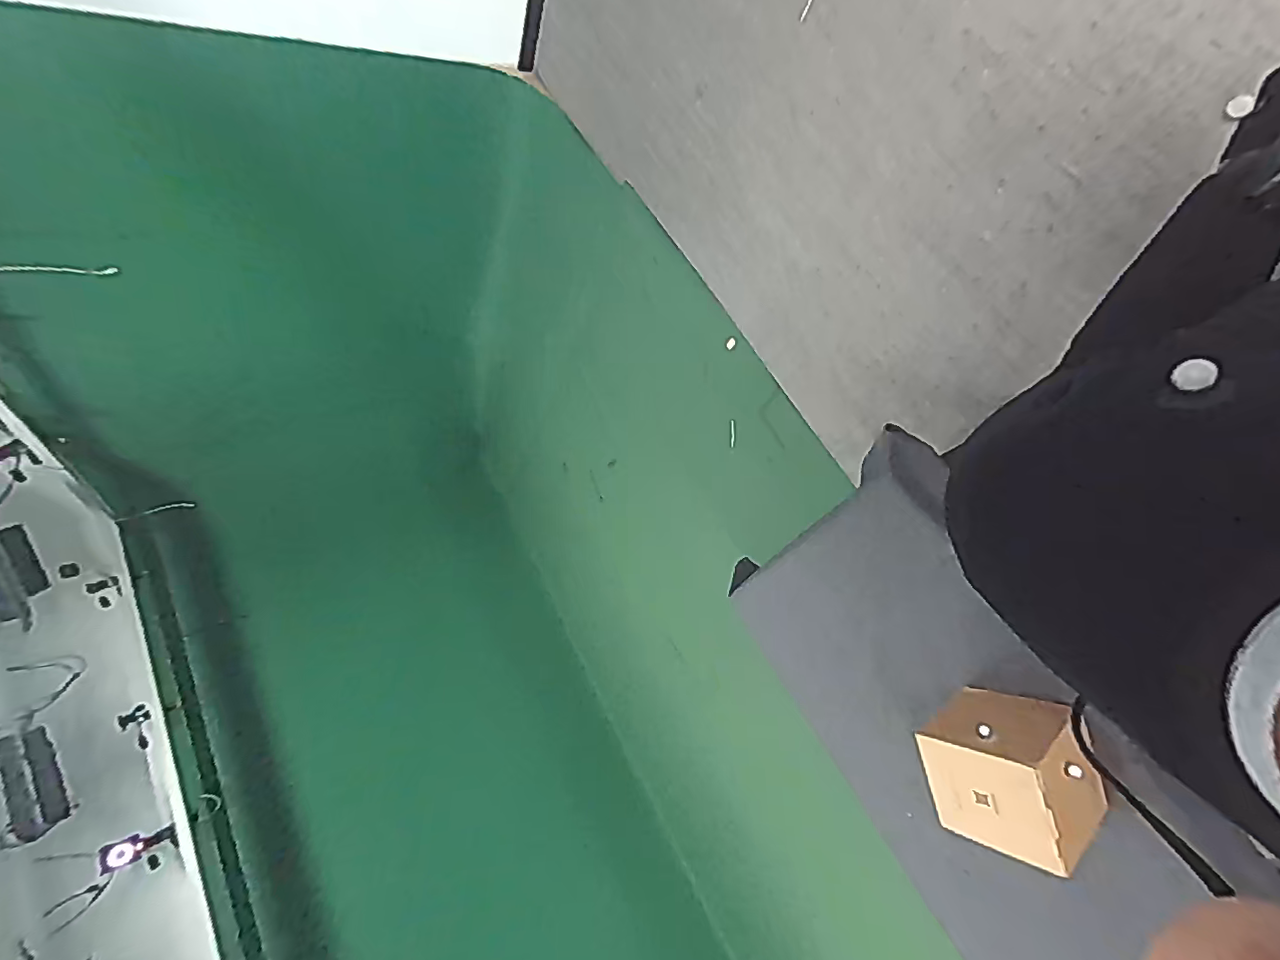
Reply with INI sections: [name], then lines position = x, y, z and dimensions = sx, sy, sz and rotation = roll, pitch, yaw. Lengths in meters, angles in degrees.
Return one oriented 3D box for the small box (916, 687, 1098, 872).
[small box]
position = 0.579, 0.450, 0.850
dimensions = 0.179, 0.176, 0.168
rotation = -14, 94, 59
